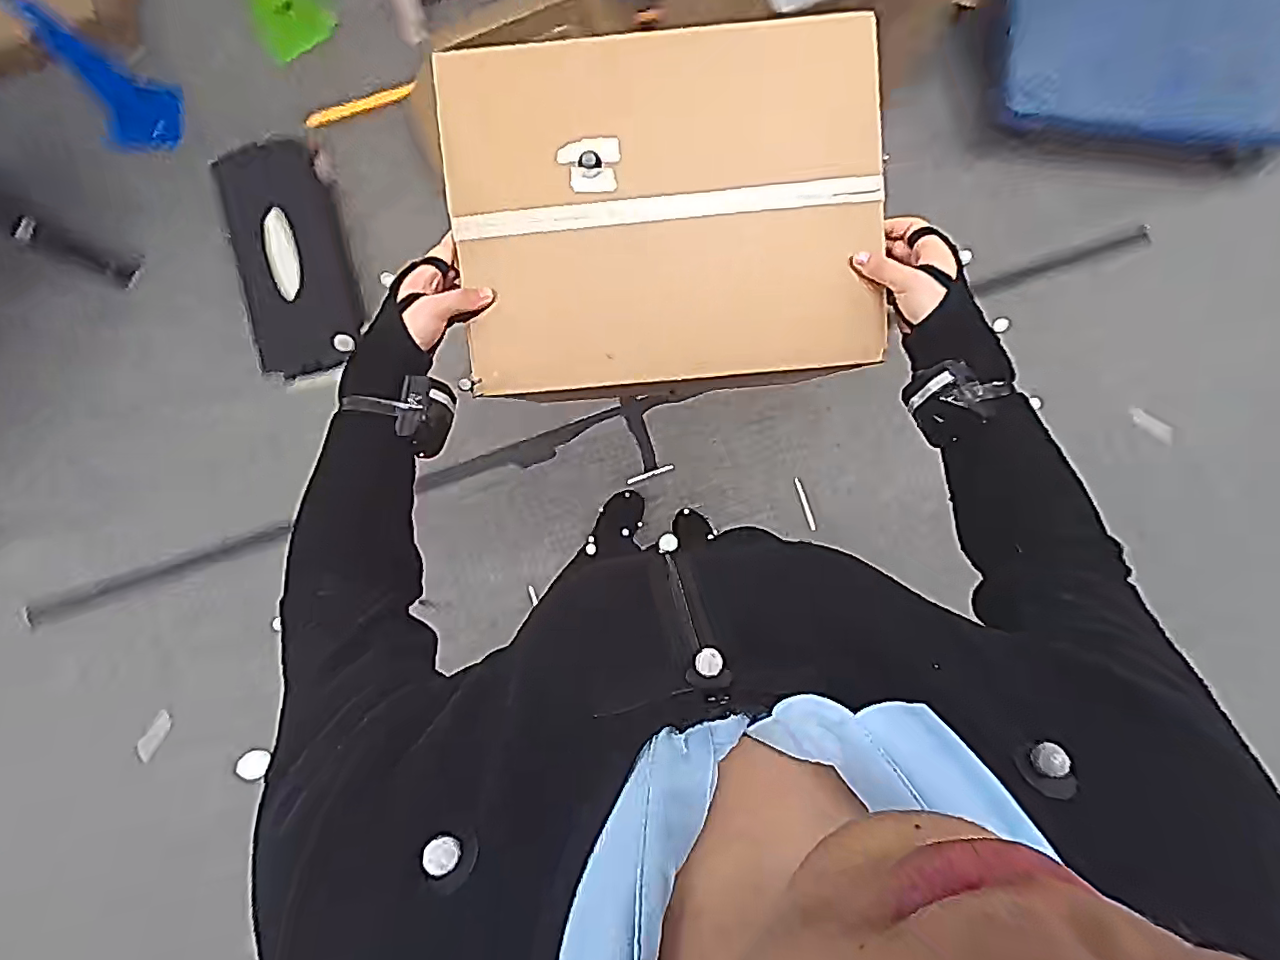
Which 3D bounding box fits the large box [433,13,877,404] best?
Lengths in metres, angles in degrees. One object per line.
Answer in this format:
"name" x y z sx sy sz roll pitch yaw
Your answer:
"large box" 0.023 -0.271 0.666 0.408 0.320 0.320 -6 96 2
